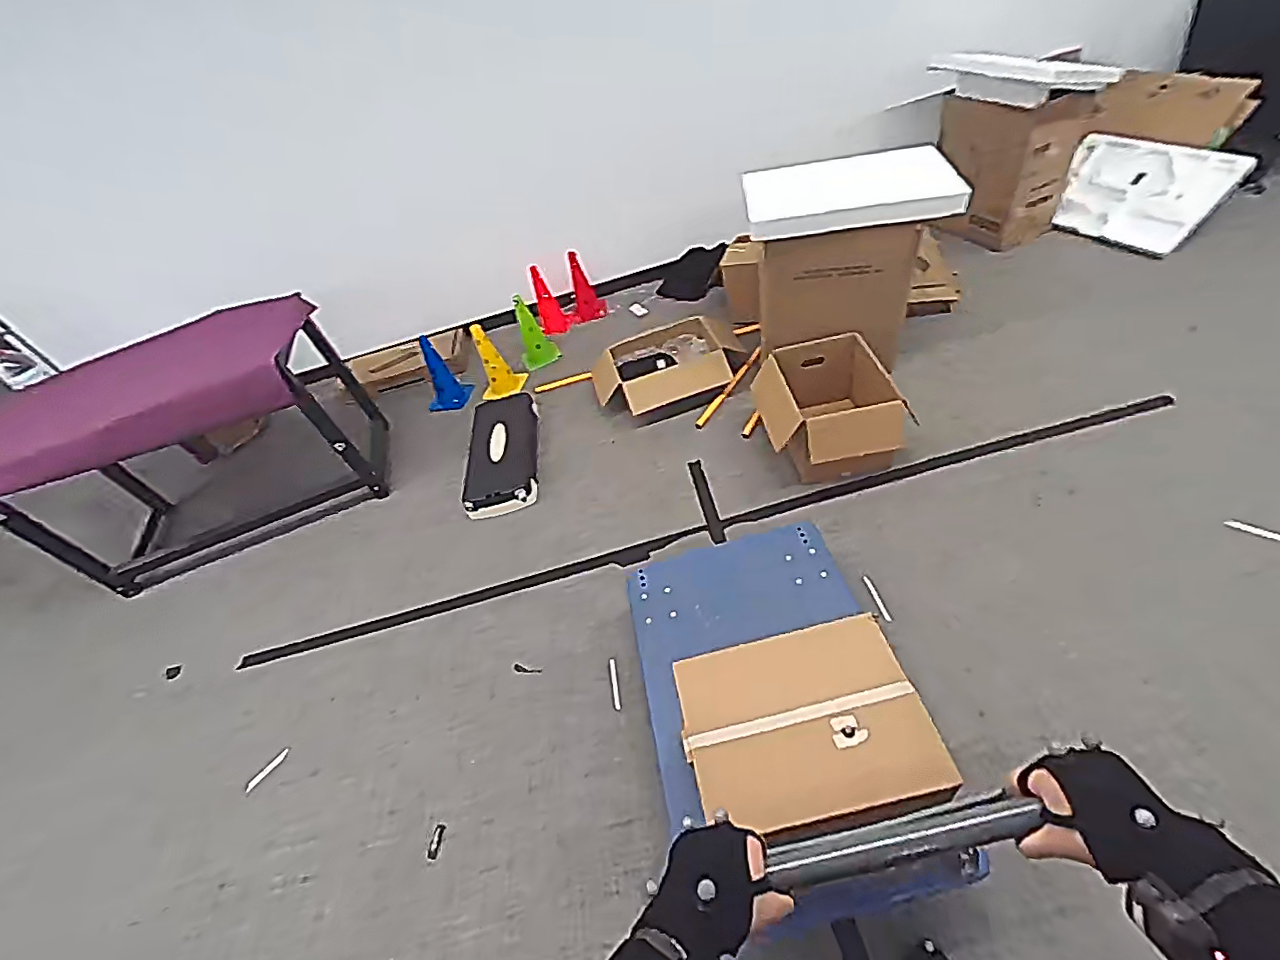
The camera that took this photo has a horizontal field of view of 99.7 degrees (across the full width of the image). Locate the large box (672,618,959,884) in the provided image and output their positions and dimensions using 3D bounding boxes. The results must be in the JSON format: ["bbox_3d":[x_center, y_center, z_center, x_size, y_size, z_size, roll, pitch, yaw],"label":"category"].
[{"bbox_3d":[0.306,0.523,1.041,0.408,0.320,0.320,-15,45,1],"label":"large box"}]
